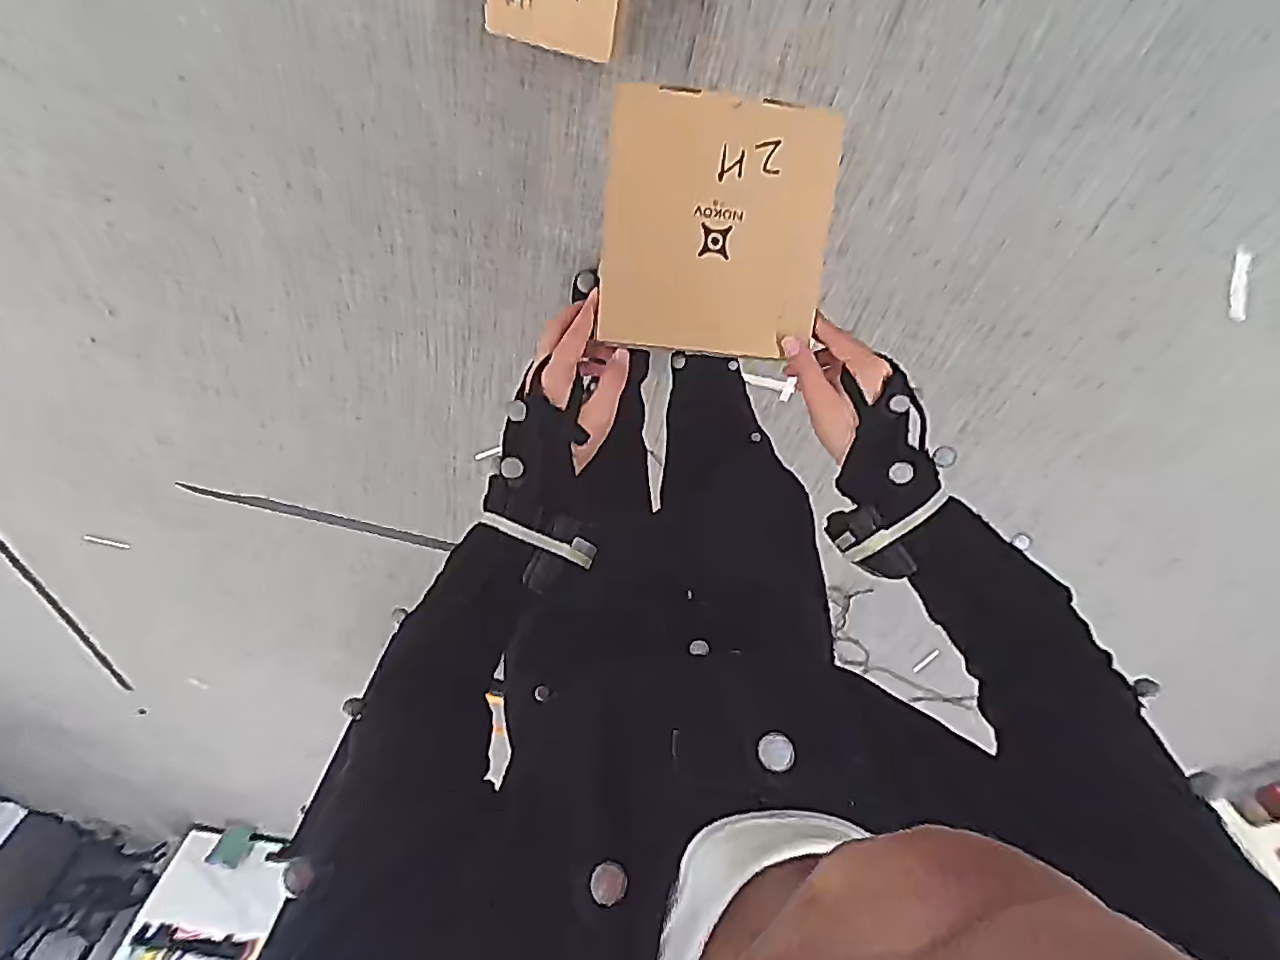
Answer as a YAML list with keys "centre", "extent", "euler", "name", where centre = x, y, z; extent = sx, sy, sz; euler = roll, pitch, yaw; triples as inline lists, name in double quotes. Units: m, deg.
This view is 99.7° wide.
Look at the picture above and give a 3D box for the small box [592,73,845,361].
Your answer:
- centre: [0.048, -0.201, 0.464]
  extent: [0.168, 0.176, 0.179]
  euler: [4, 104, -6]
  name: "small box"
